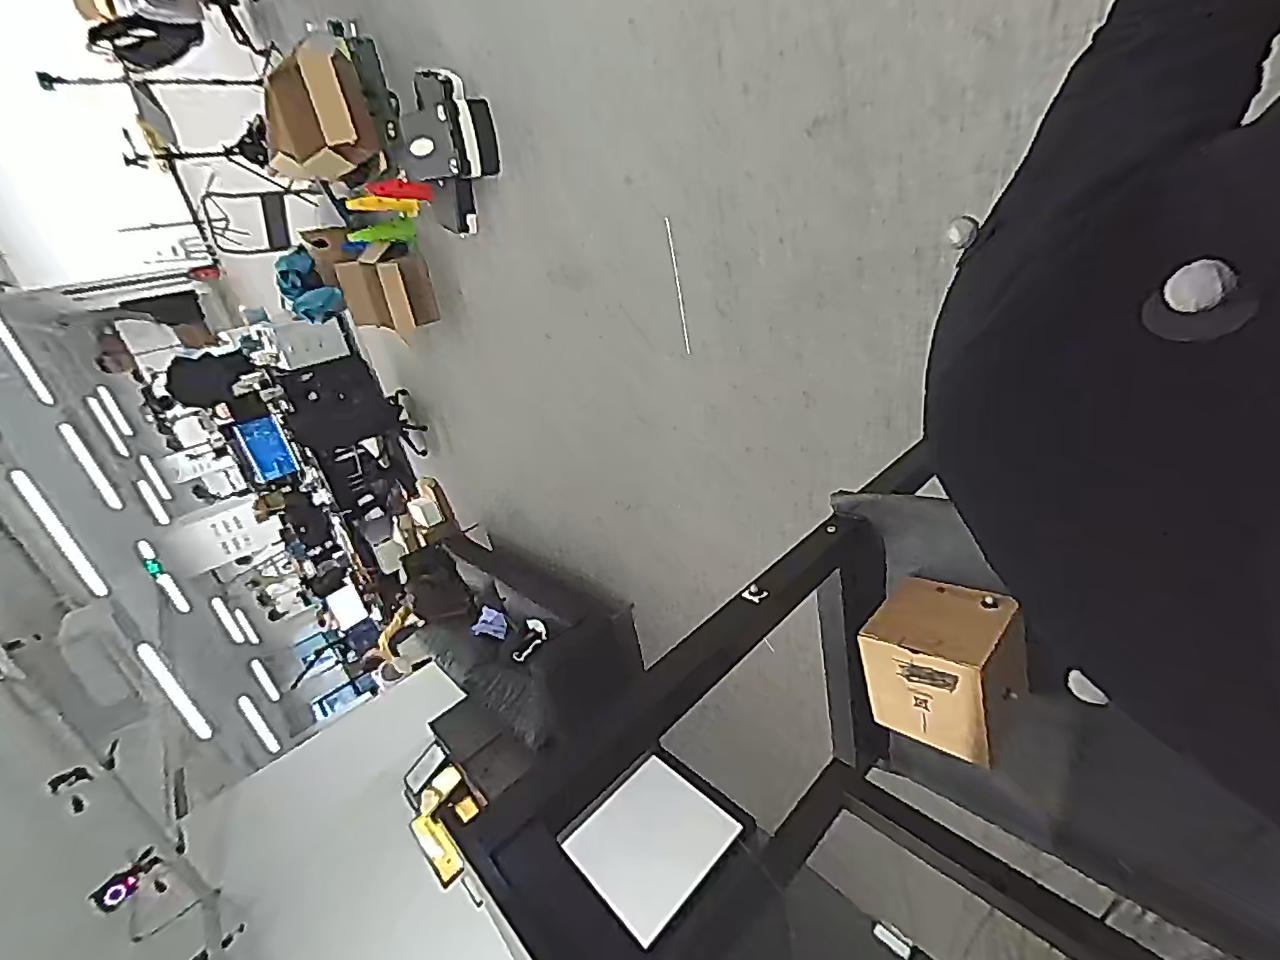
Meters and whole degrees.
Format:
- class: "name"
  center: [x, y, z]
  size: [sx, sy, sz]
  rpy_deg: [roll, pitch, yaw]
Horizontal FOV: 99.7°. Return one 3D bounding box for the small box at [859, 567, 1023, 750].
- class: "small box"
  center: [0.460, 0.255, 0.821]
  size: [0.168, 0.176, 0.179]
  rpy_deg: [8, 121, 50]
